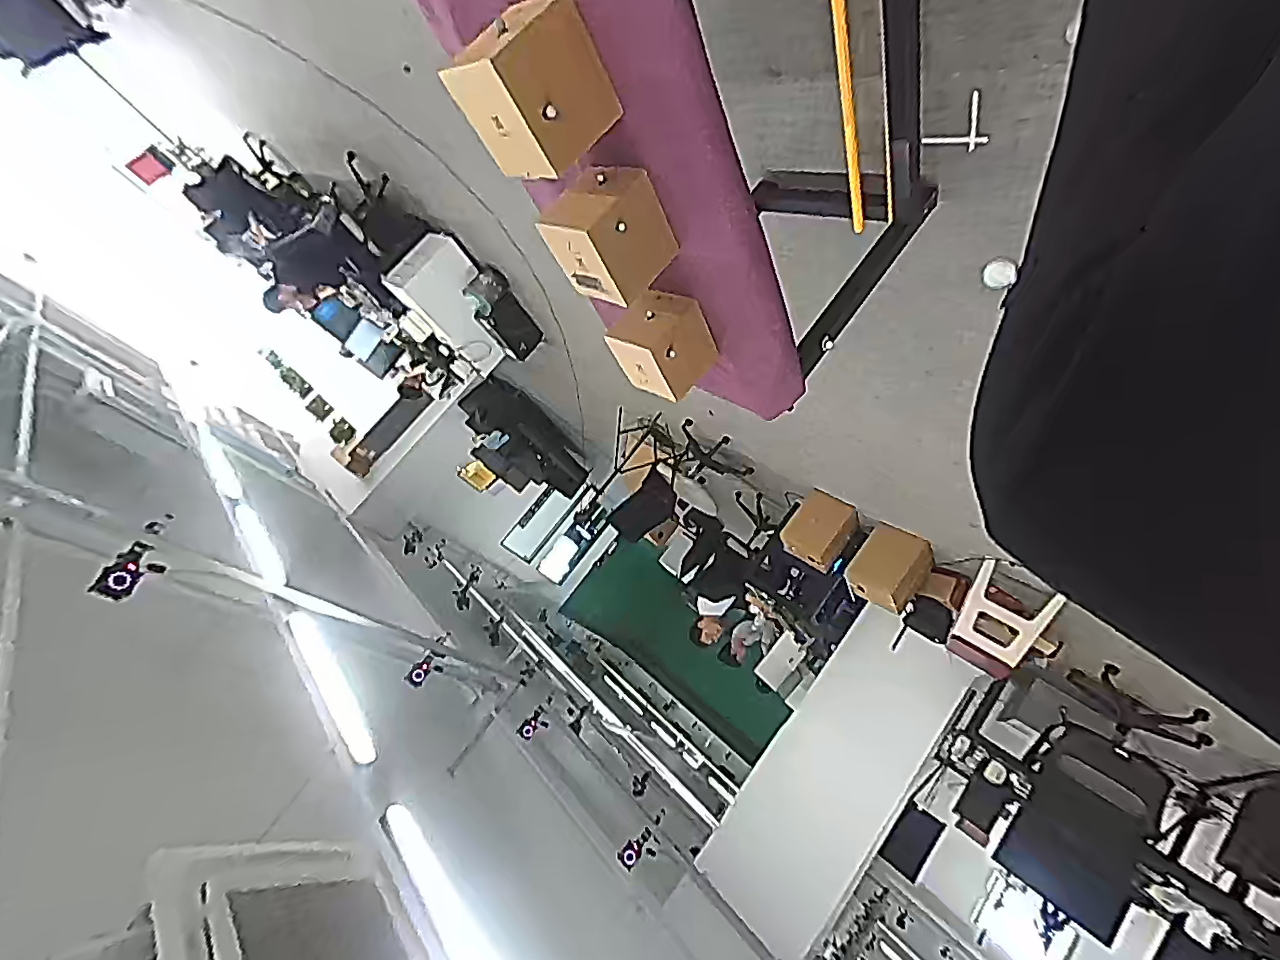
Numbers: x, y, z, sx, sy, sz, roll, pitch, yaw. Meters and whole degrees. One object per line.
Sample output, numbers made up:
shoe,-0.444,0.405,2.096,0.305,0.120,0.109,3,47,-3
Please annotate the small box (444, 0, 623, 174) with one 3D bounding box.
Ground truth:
small box,-0.160,-0.614,0.845,0.168,0.176,0.179,30,168,40

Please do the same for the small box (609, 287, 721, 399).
small box,0.063,-0.329,1.284,0.168,0.176,0.179,31,165,41
